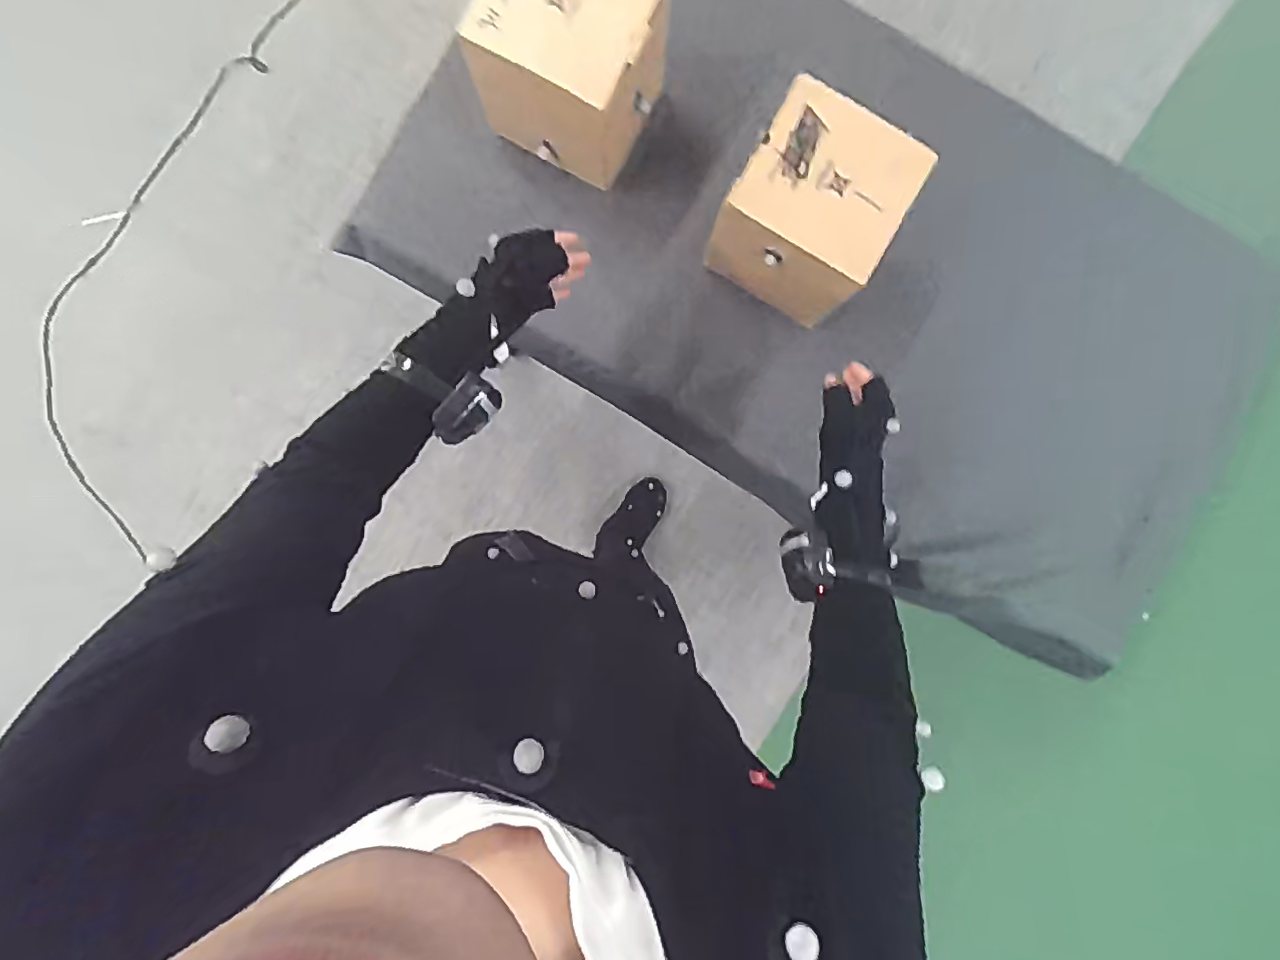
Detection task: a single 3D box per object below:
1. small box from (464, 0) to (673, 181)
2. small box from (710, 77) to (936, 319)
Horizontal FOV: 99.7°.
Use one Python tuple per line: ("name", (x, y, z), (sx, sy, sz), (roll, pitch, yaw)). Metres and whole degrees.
("small box", (-0.077, -0.503, 0.655), (0.179, 0.176, 0.168), (28, 89, -2))
("small box", (0.205, -0.324, 0.663), (0.179, 0.176, 0.168), (31, 89, -2))
